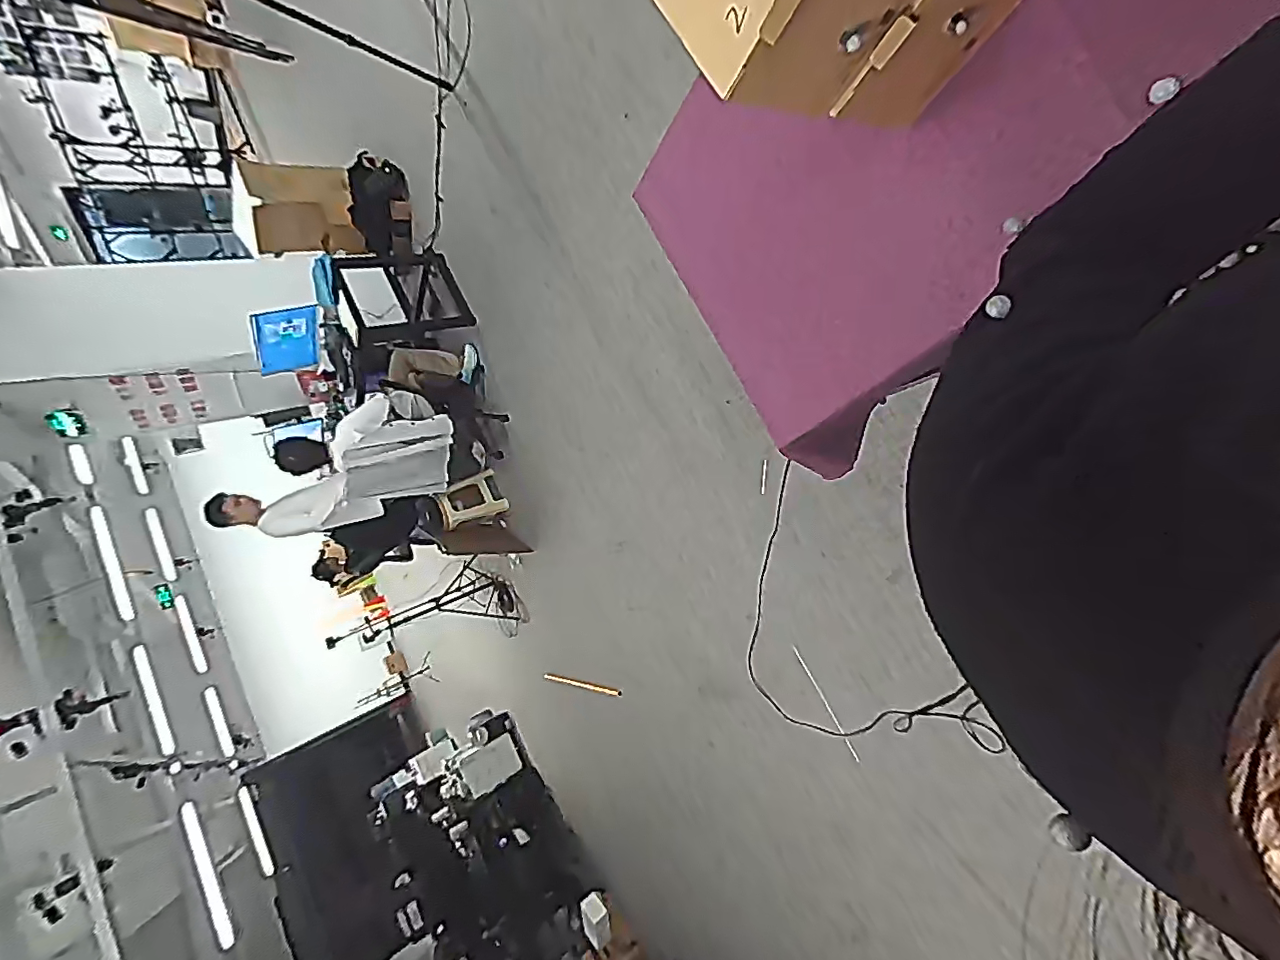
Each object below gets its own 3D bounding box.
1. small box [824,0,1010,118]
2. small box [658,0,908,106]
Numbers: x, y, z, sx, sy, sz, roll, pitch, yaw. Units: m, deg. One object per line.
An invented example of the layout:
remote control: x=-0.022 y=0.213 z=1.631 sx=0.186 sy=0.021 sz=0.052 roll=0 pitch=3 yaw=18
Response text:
small box: x=0.274 y=-0.543 z=0.607 sx=0.168 sy=0.176 sz=0.179 roll=-42 pitch=72 yaw=52
small box: x=0.139 y=-0.501 z=0.522 sx=0.179 sy=0.176 sz=0.168 roll=62 pitch=144 yaw=11
